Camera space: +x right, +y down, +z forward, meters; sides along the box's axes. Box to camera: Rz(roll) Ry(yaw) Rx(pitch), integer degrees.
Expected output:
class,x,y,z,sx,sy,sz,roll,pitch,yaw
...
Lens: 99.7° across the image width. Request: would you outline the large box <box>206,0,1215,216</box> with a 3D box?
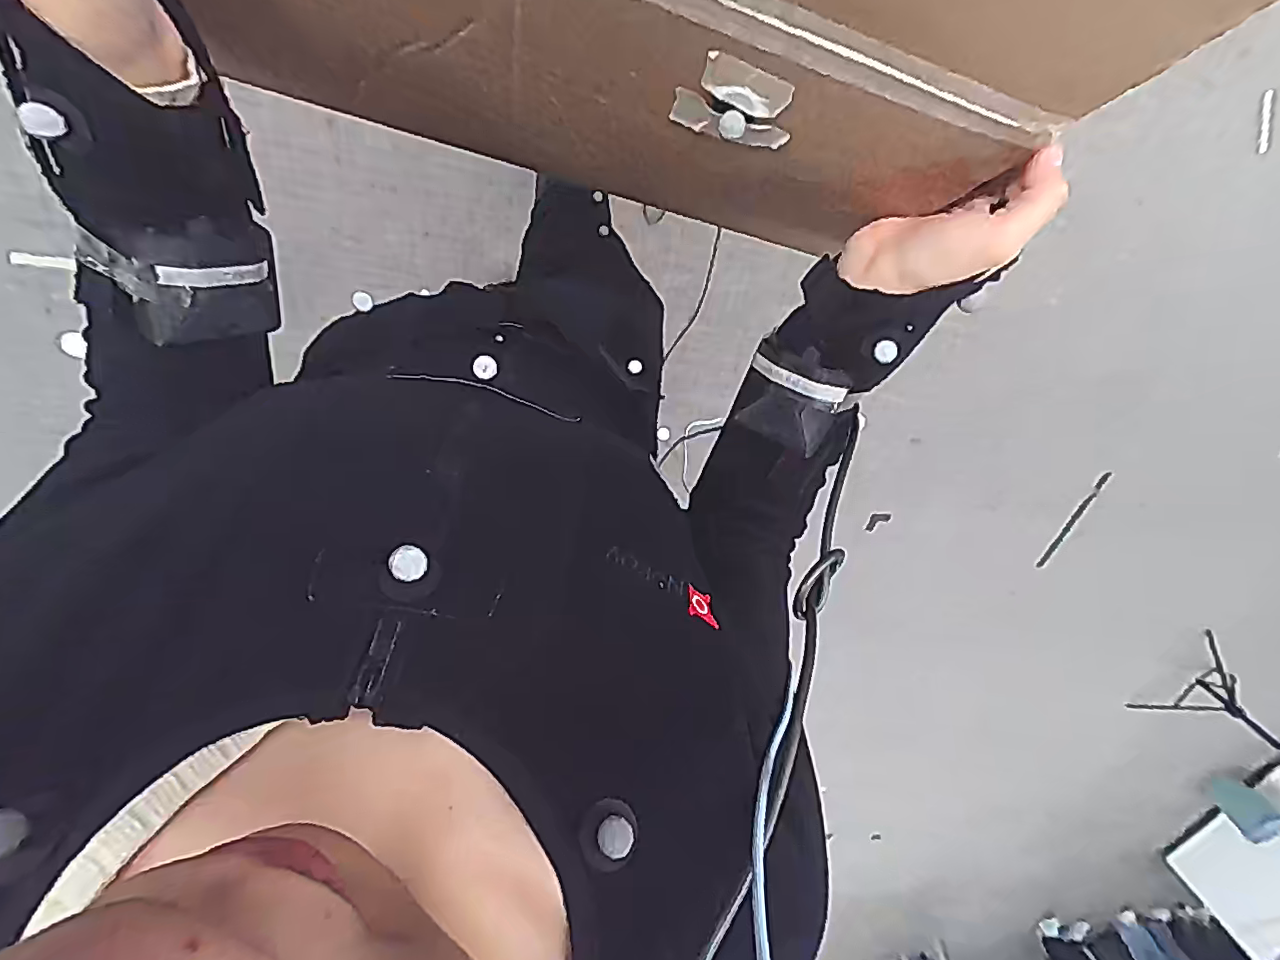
class,x,y,z,sx,sy,sz,roll,pitch,yaw
large box,0.030,-0.353,0.175,0.408,0.320,0.320,9,89,-13
